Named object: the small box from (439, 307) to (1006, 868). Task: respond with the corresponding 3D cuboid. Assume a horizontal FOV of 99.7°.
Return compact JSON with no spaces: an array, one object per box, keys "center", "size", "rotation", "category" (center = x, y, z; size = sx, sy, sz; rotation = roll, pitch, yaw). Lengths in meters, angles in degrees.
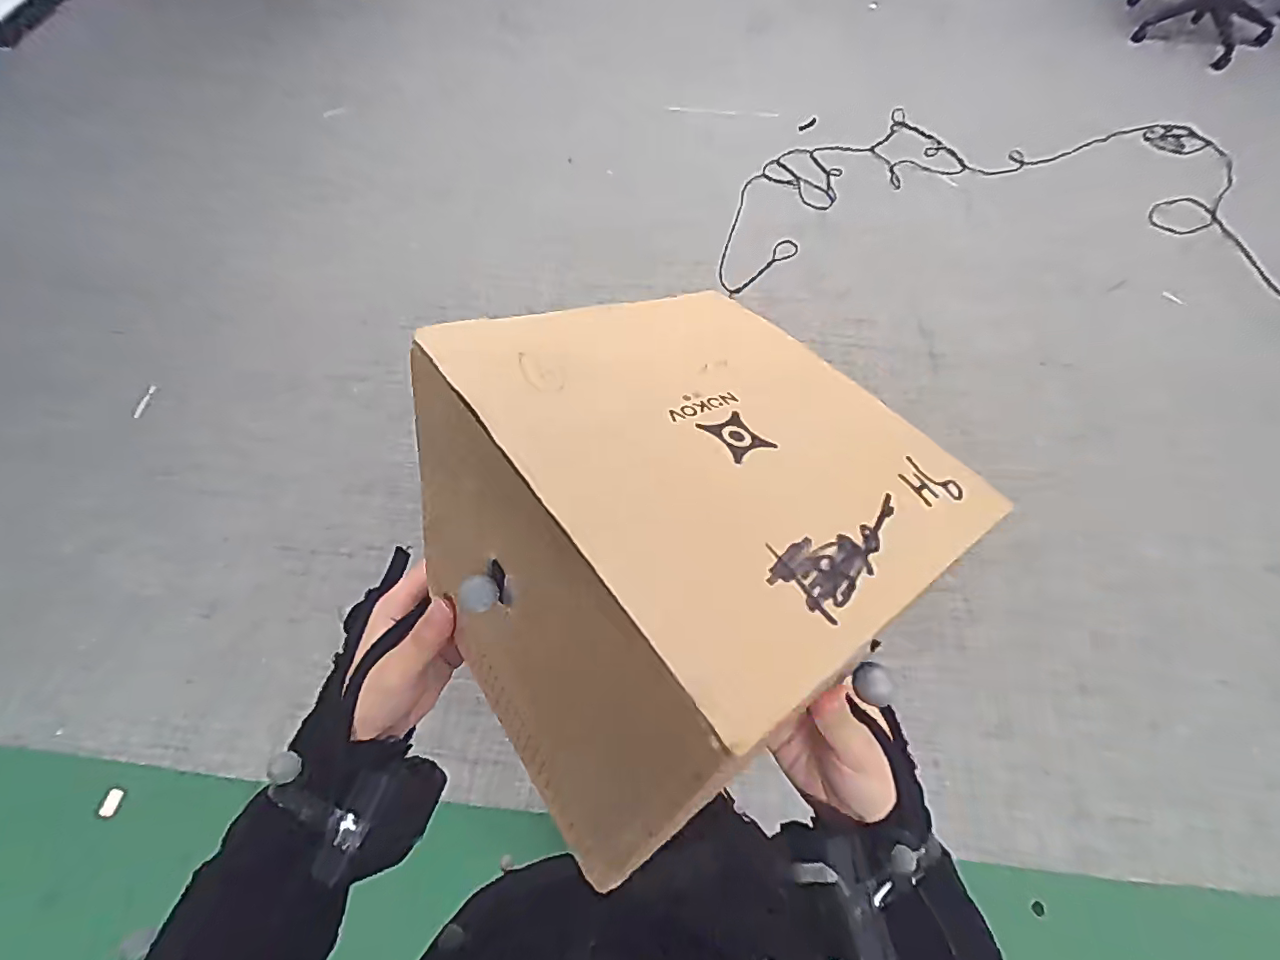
[{"center":[0.017,0.041,0.265],"size":[0.168,0.176,0.179],"rotation":[-23,56,-34],"category":"small box"}]
